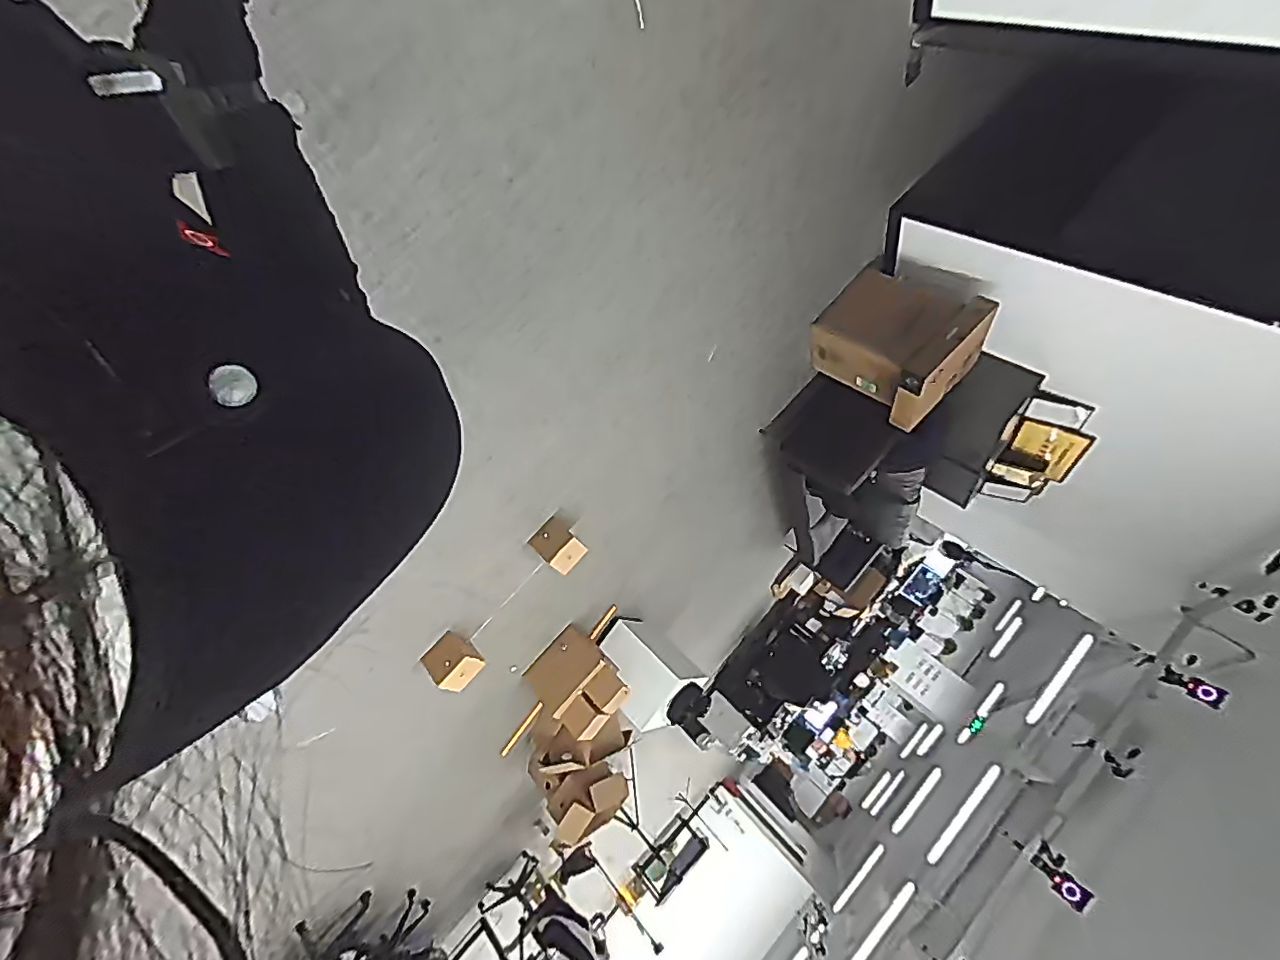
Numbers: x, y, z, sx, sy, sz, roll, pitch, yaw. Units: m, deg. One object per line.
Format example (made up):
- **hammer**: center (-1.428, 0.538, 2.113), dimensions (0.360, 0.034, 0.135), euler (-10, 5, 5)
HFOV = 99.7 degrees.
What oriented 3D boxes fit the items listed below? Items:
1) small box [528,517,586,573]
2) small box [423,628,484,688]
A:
- **small box**: center (-0.385, 0.299, 2.512), dimensions (0.168, 0.176, 0.179), euler (-47, 149, -8)
- **small box**: center (-0.844, 0.802, 2.429), dimensions (0.179, 0.176, 0.168), euler (-47, 148, -8)
